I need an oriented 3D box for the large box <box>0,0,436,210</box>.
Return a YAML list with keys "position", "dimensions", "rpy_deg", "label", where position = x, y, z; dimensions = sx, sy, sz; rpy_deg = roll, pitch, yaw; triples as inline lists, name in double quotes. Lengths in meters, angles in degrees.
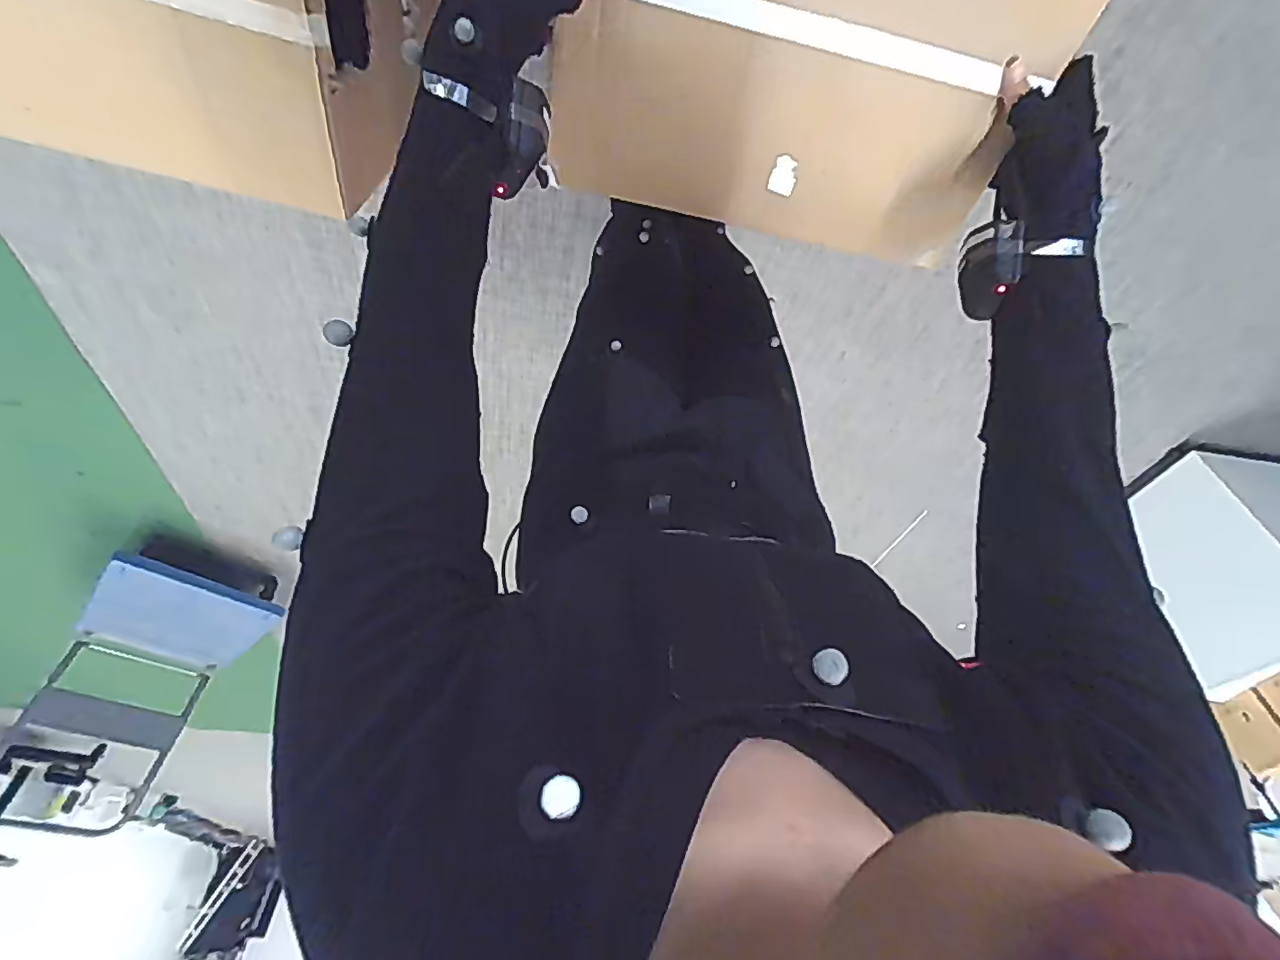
- position: [-0.442, -0.513, 0.497]
  dimensions: [0.408, 0.320, 0.320]
  rpy_deg: [11, 139, -9]
  label: "large box"
